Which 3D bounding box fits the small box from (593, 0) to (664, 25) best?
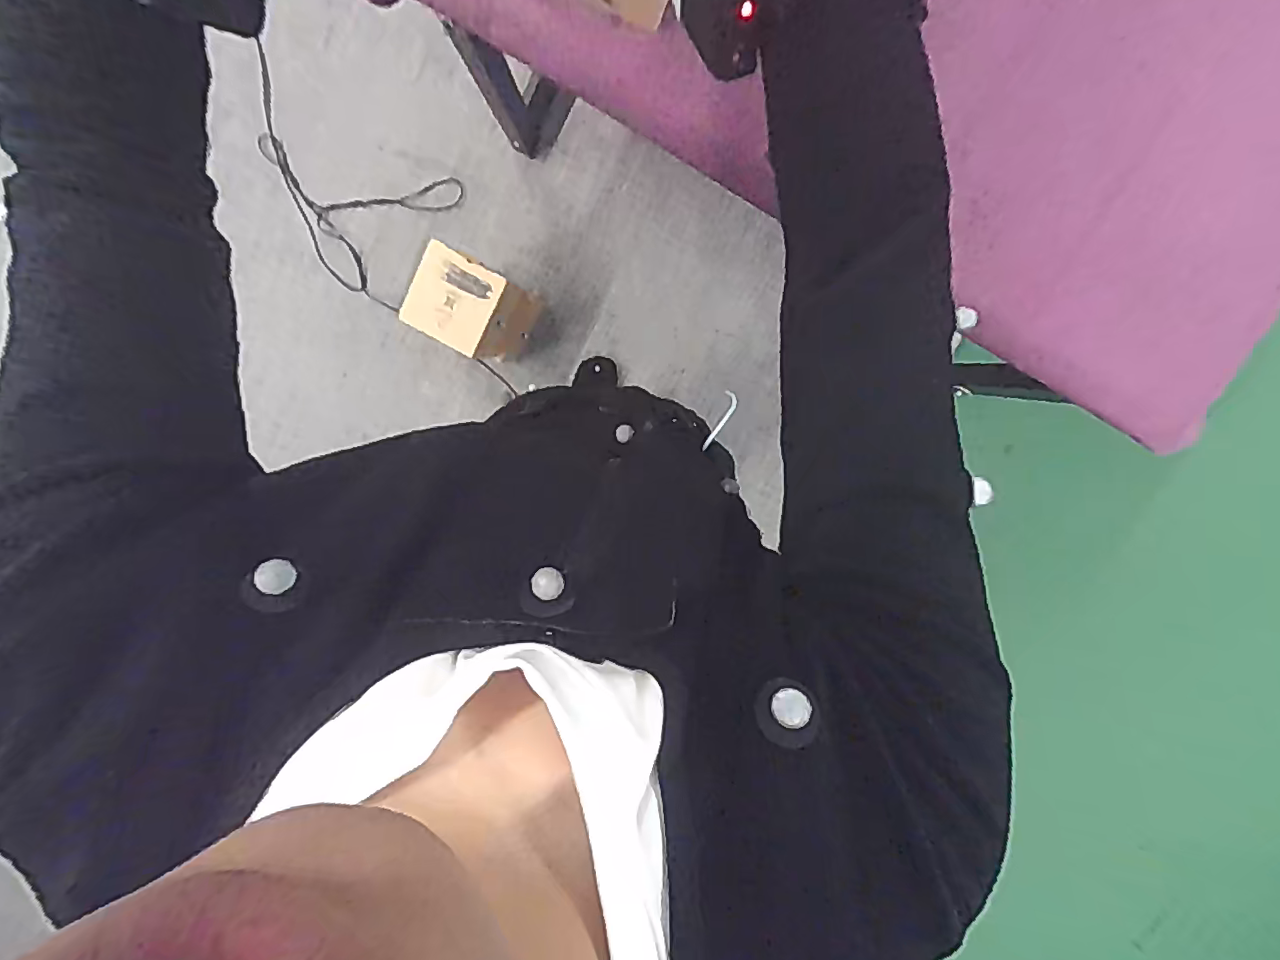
[{"bbox_3d":[-0.022,-0.614,0.525,0.168,0.176,0.179,23,100,-7],"label":"small box"}]
